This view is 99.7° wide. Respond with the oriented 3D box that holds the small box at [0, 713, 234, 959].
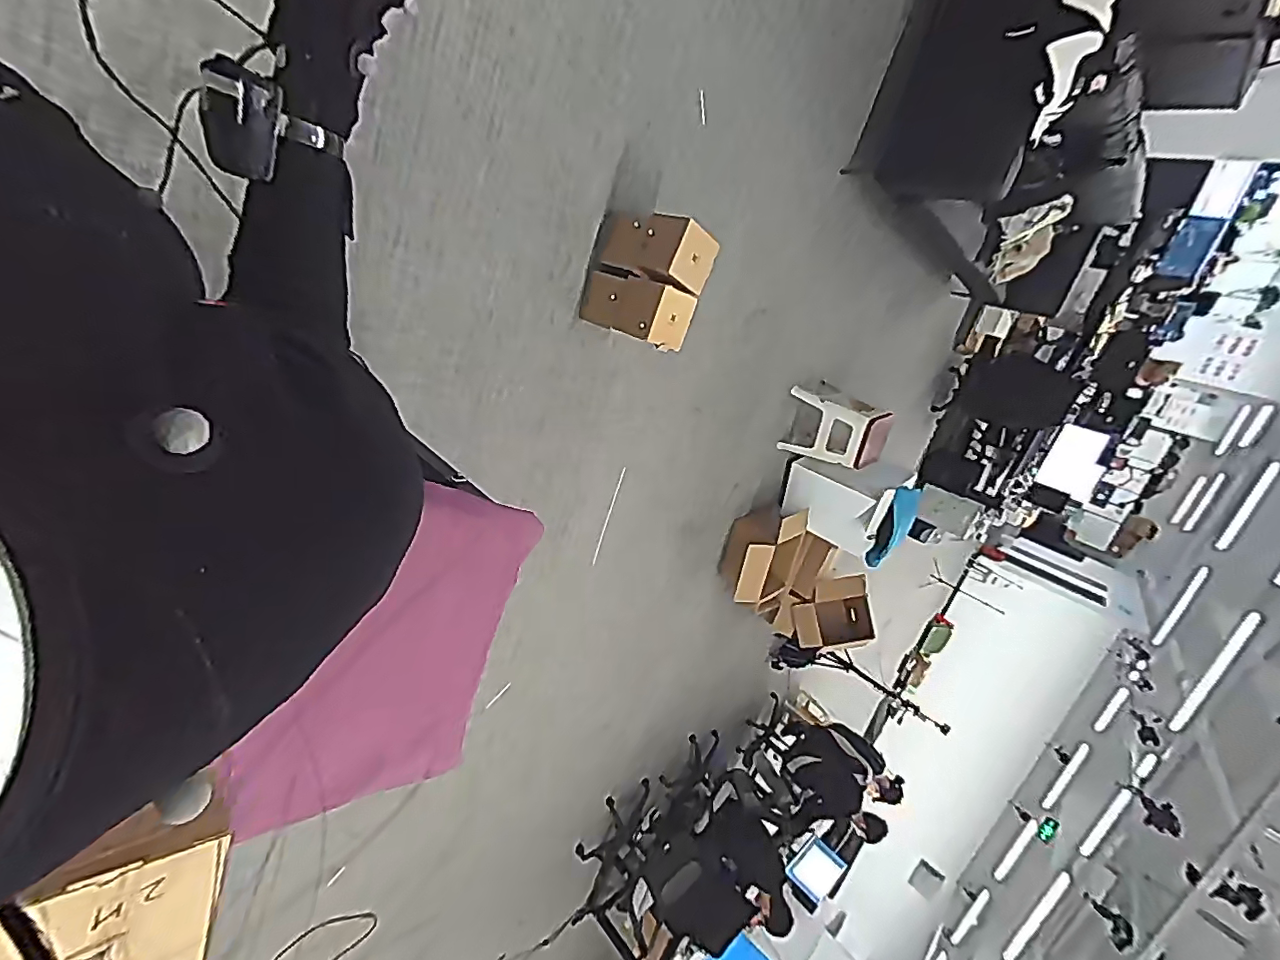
[{"bbox_3d":[-0.507,0.356,0.501,0.168,0.176,0.179,5,110,-50],"label":"small box"}]
